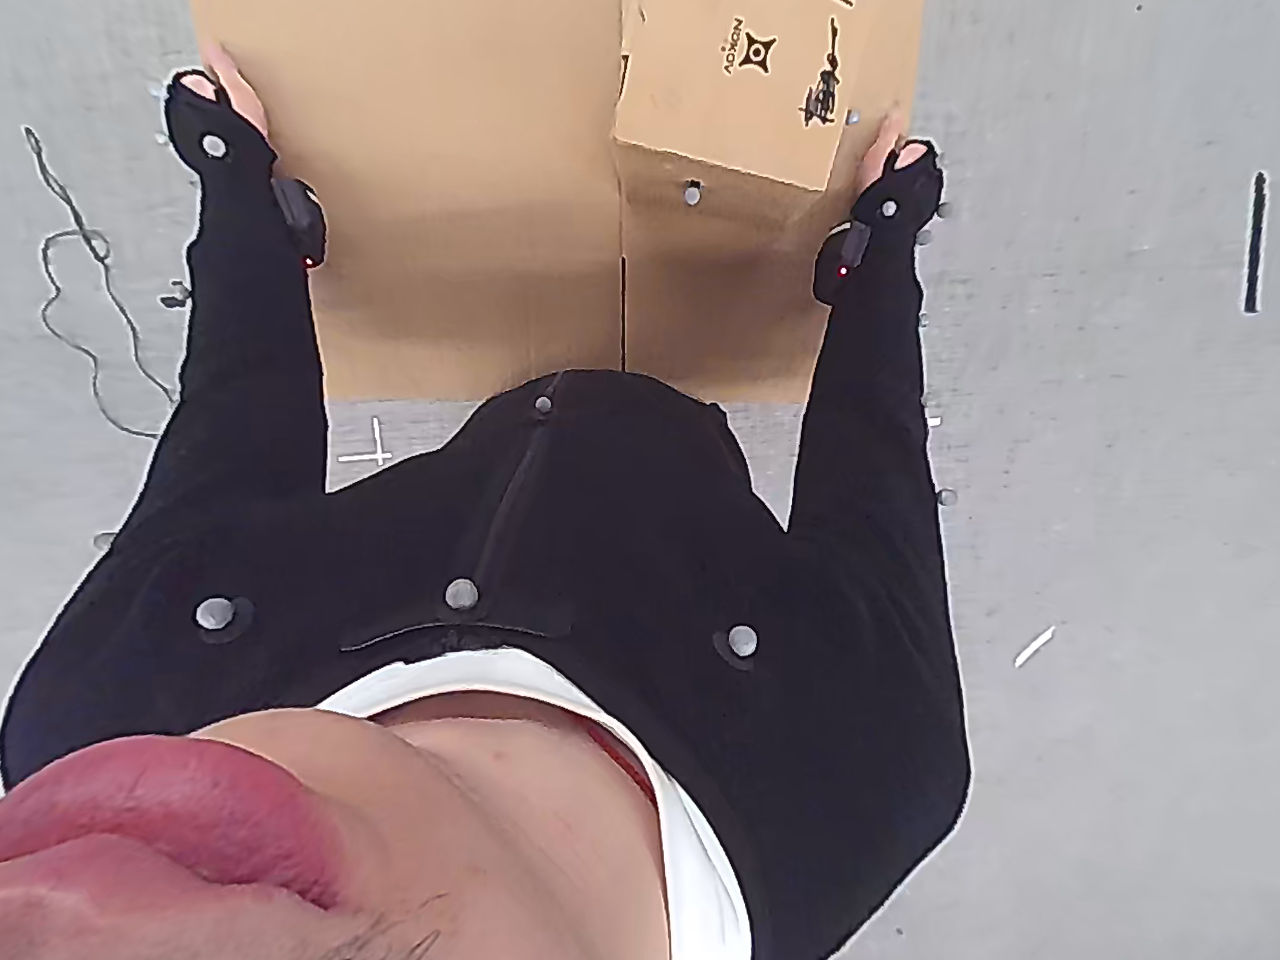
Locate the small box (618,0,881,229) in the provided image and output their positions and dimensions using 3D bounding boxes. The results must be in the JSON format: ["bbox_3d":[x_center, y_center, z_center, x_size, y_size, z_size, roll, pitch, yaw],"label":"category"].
[{"bbox_3d":[0.090,-0.347,0.493,0.179,0.176,0.168,14,103,0],"label":"small box"}]
